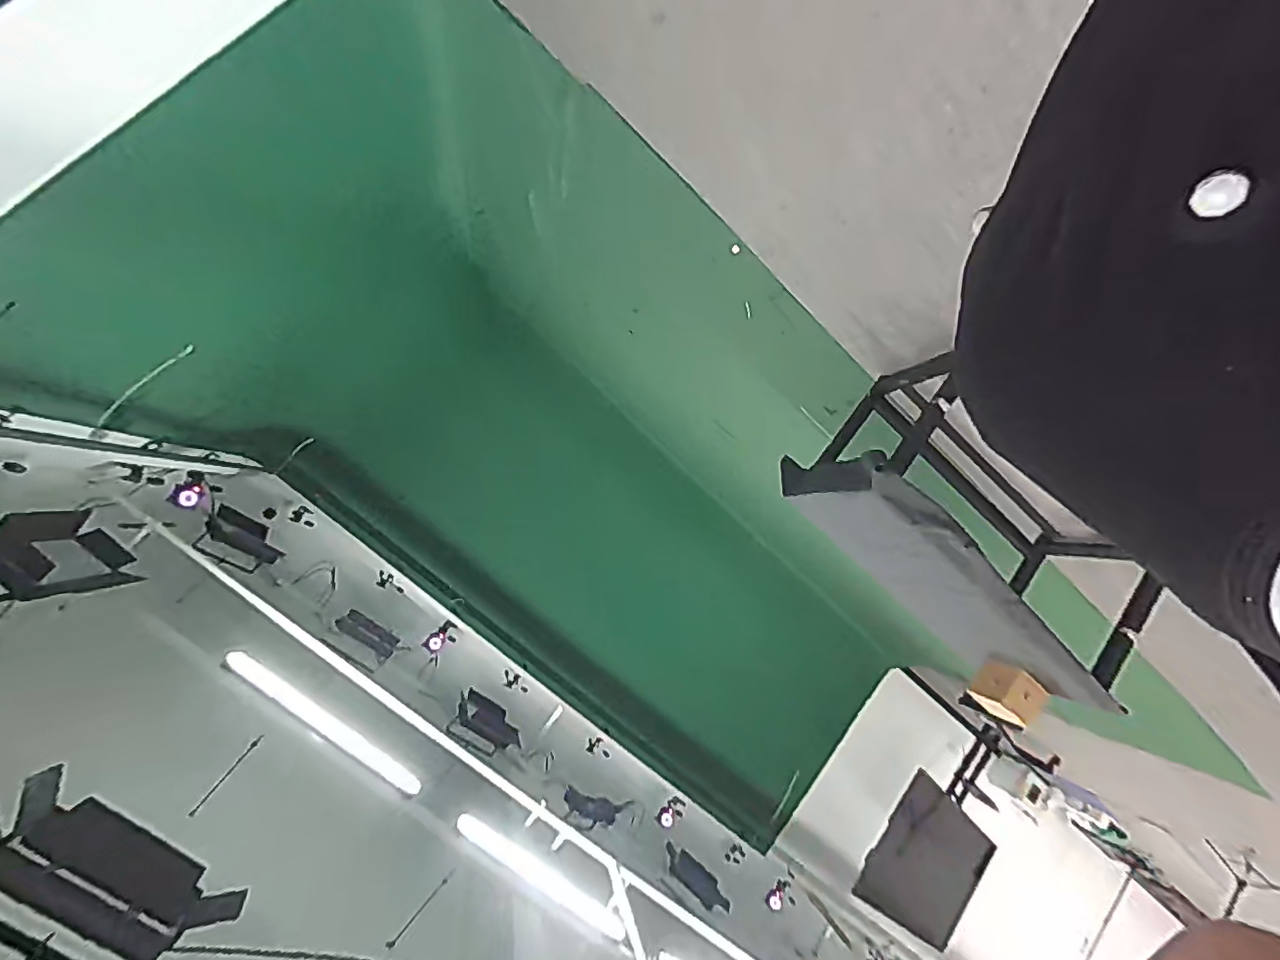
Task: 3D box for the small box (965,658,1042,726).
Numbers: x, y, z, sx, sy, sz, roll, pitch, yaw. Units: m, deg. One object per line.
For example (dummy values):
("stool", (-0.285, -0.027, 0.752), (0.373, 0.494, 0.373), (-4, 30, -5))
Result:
("small box", (1.468, 0.842, 2.171), (0.168, 0.176, 0.179), (43, 167, -7))
